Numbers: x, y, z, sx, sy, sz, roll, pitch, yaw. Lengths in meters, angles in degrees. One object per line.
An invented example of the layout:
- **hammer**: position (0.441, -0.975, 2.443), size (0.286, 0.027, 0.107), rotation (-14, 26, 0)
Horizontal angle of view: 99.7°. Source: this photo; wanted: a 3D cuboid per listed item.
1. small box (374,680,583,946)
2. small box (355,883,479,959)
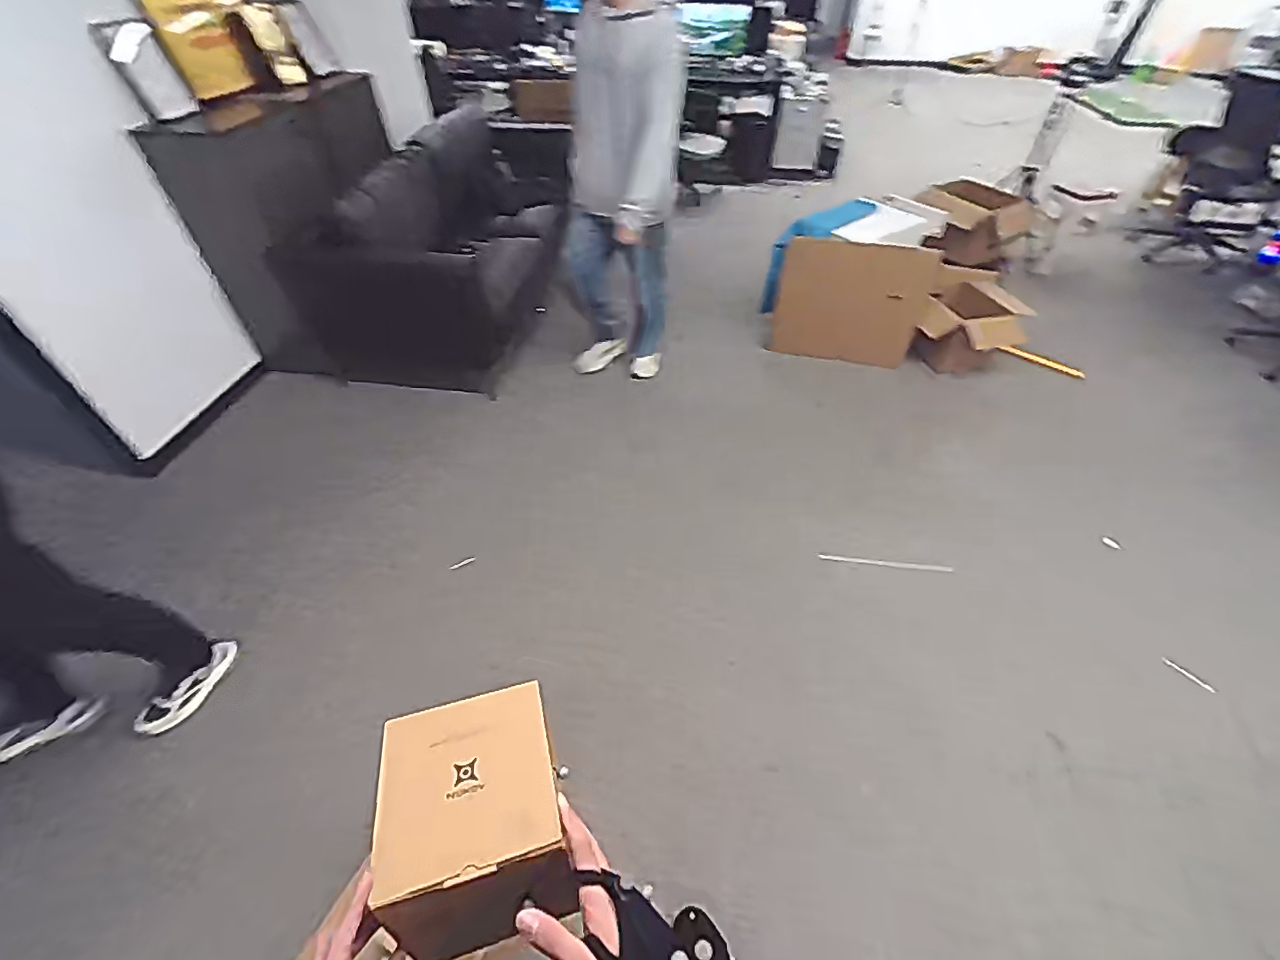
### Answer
- **small box**: position (-0.160, 0.353, 0.574), size (0.168, 0.176, 0.179), rotation (-11, 36, -11)
- **small box**: position (-0.372, 0.766, 0.990), size (0.179, 0.176, 0.168), rotation (22, 50, 18)
